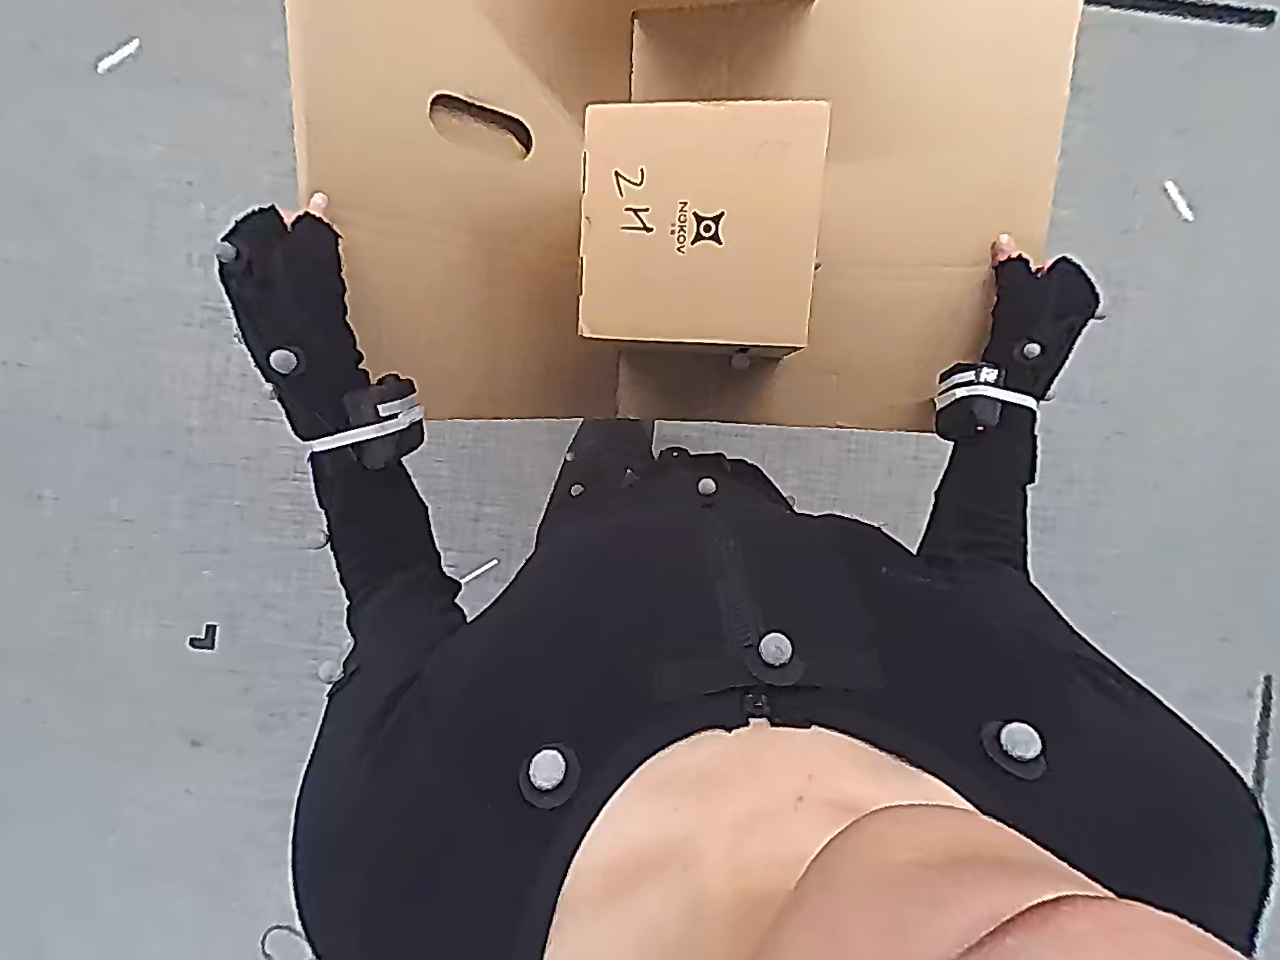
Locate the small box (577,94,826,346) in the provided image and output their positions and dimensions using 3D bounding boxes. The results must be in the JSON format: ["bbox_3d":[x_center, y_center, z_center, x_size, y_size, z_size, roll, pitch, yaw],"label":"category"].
[{"bbox_3d":[0.052,-0.211,0.481,0.179,0.176,0.168,5,101,8],"label":"small box"}]
